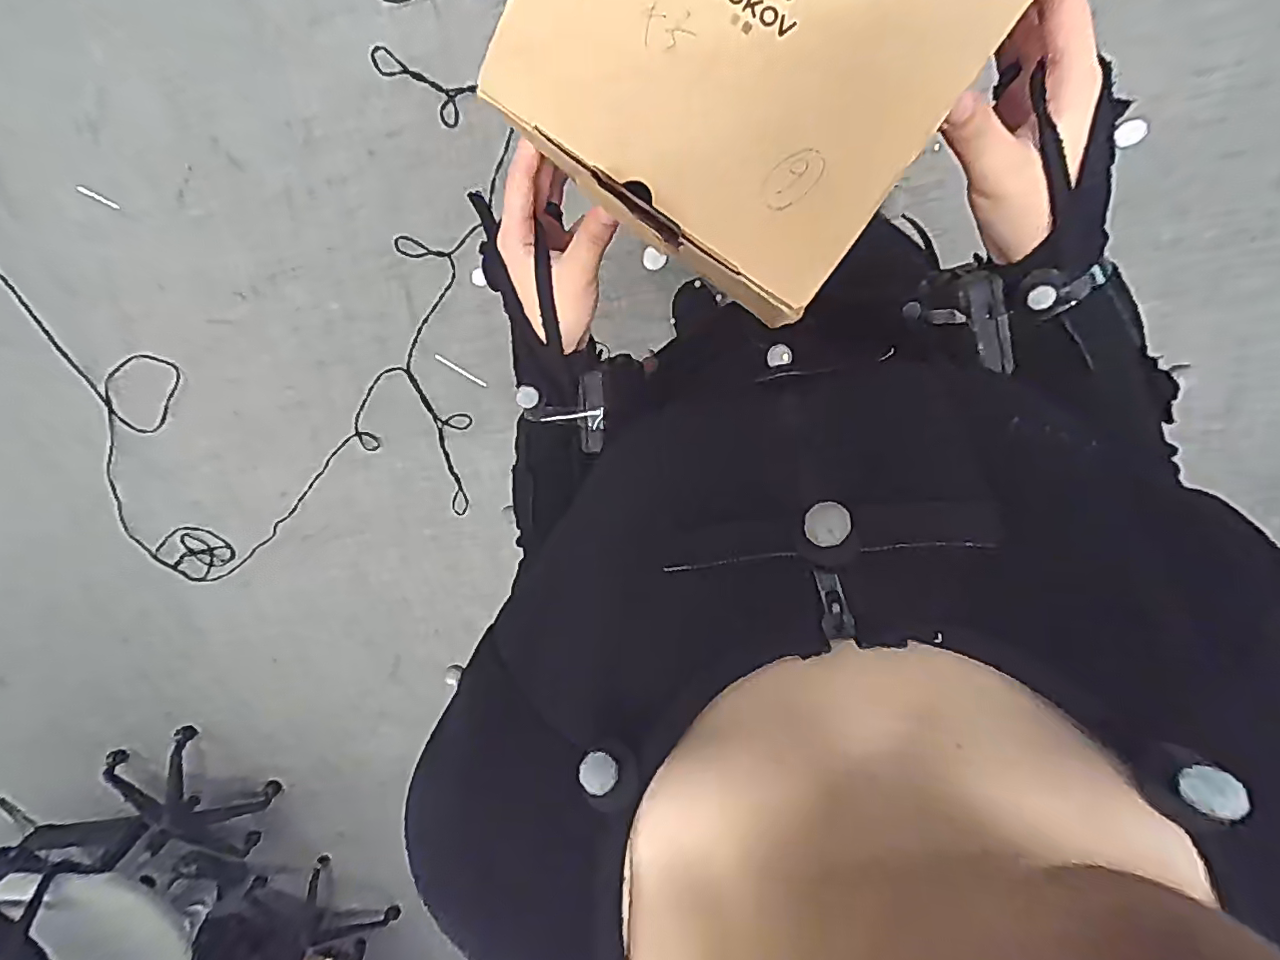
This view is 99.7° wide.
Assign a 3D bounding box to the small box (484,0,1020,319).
[{"bbox_3d":[0.059,-0.201,0.280,0.168,0.176,0.179,35,109,1],"label":"small box"}]
